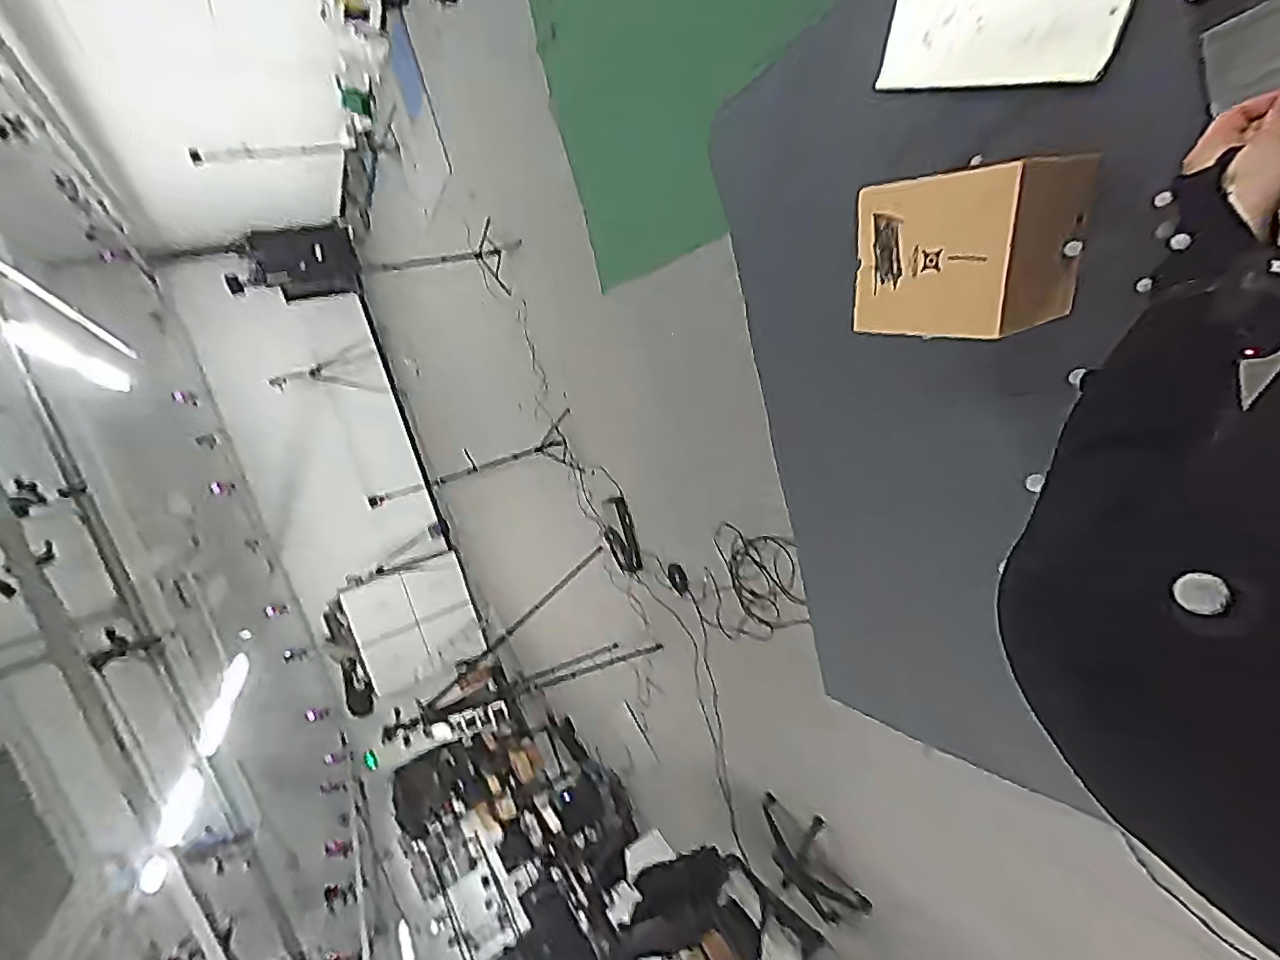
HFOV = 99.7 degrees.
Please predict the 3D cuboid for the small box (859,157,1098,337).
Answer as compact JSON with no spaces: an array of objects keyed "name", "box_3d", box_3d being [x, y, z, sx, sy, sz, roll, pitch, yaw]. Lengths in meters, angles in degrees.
[{"name":"small box","box_3d":[0.388,-0.270,0.637,0.179,0.176,0.168,24,129,52]}]
